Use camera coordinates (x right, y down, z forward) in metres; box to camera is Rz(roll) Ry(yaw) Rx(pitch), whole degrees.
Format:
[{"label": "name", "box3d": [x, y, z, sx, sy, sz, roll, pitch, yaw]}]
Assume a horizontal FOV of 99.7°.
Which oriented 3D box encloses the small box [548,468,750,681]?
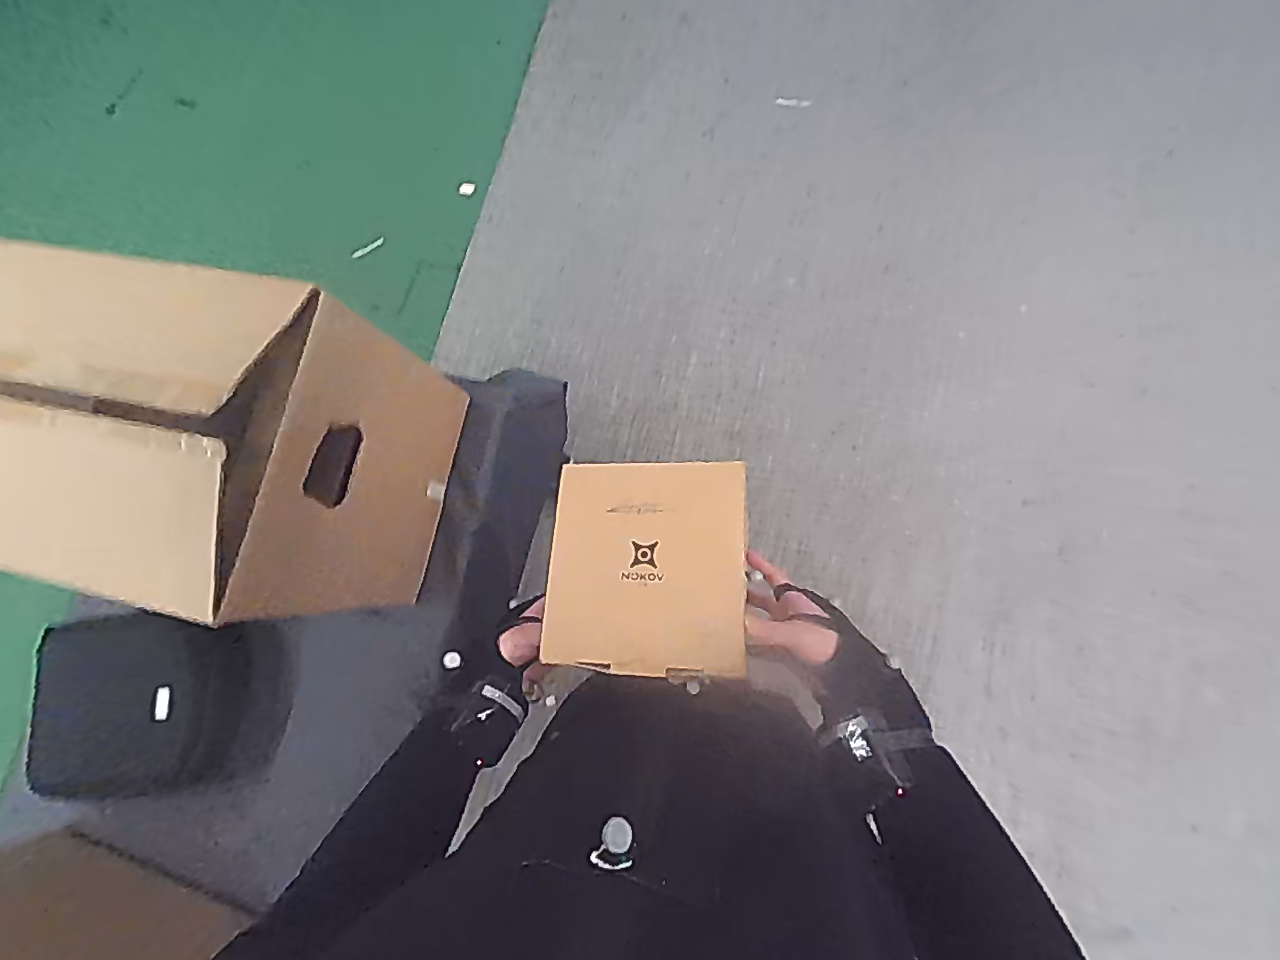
[{"label": "small box", "box3d": [0.022, 0.100, 0.529, 0.168, 0.176, 0.179, -1, 68, 10]}]
